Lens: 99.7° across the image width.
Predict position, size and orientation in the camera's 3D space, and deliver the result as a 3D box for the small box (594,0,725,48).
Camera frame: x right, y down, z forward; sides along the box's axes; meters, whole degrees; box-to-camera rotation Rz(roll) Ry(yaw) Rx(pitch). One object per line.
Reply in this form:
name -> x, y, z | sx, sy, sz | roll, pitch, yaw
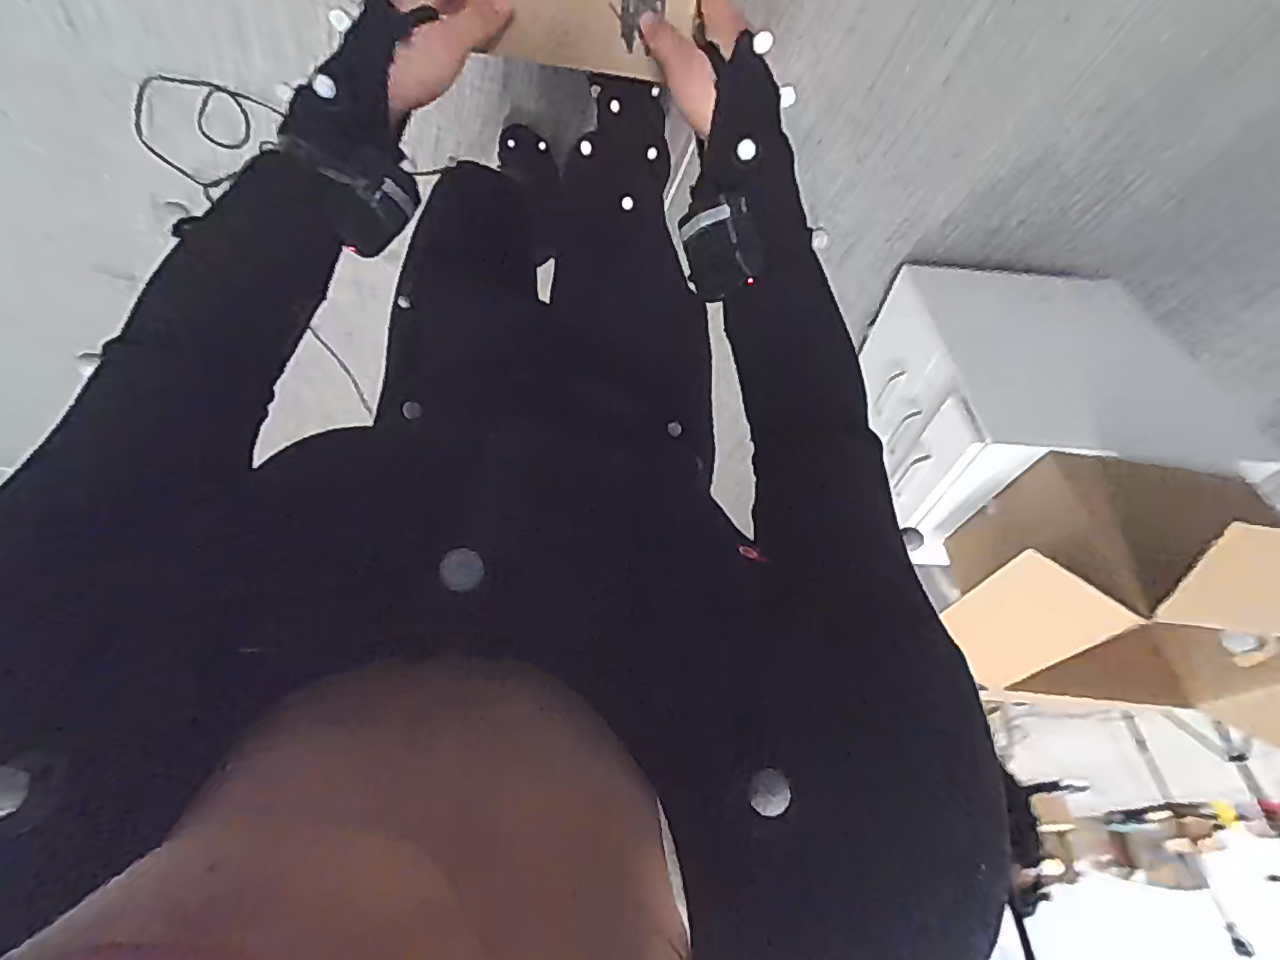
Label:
small box -> 0.042, -0.707, 0.691 | 0.168, 0.176, 0.179 | 11, 140, -14
